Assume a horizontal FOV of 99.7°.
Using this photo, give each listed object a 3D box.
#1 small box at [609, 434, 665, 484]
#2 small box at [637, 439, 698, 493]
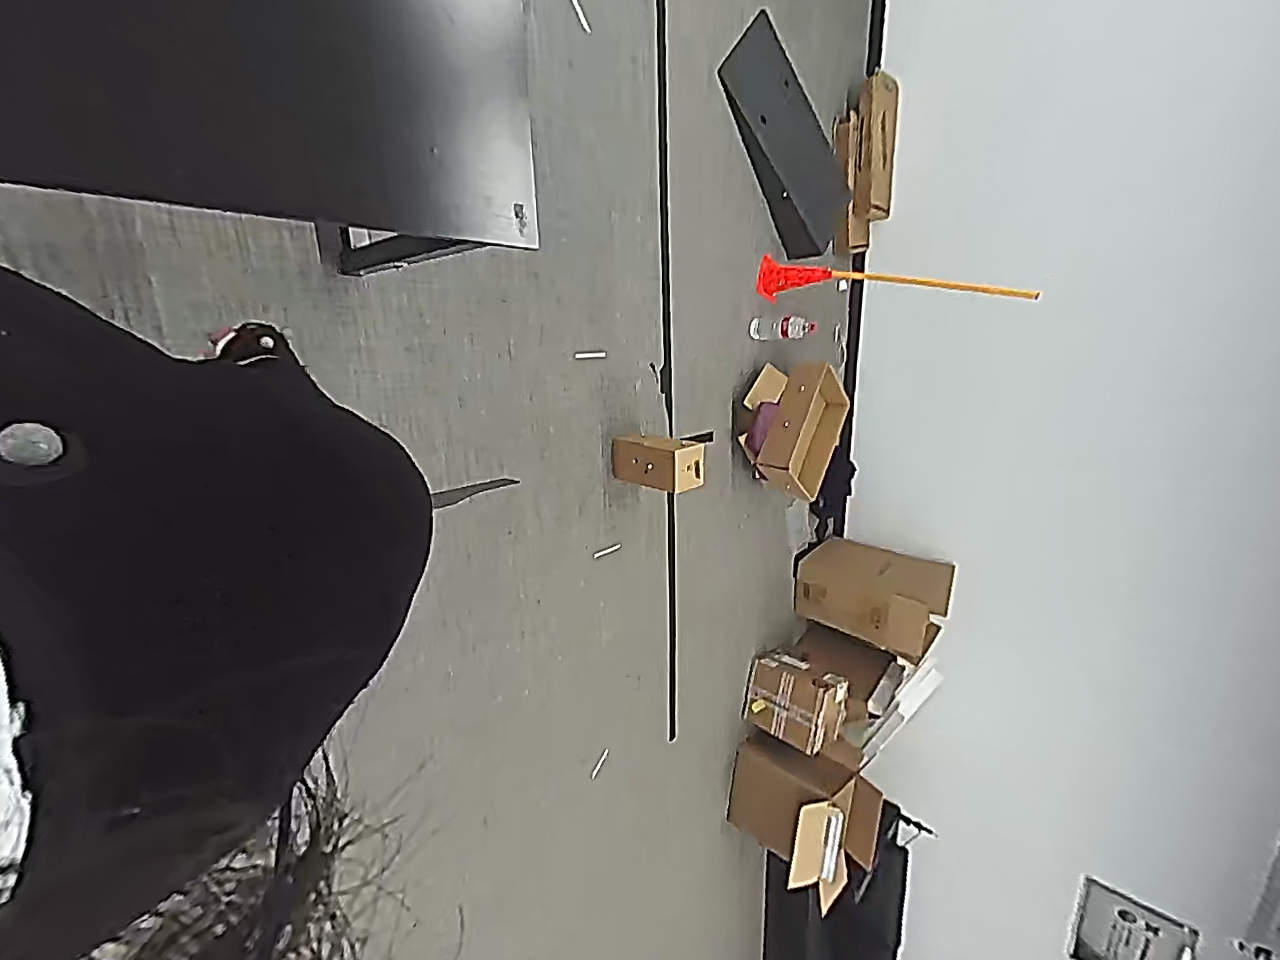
[{"bbox_3d":[-0.012,-0.090,2.195,0.168,0.176,0.179,-16,112,-45],"label":"small box"},{"bbox_3d":[0.106,-0.060,2.084,0.179,0.176,0.168,-16,111,-45],"label":"small box"}]
